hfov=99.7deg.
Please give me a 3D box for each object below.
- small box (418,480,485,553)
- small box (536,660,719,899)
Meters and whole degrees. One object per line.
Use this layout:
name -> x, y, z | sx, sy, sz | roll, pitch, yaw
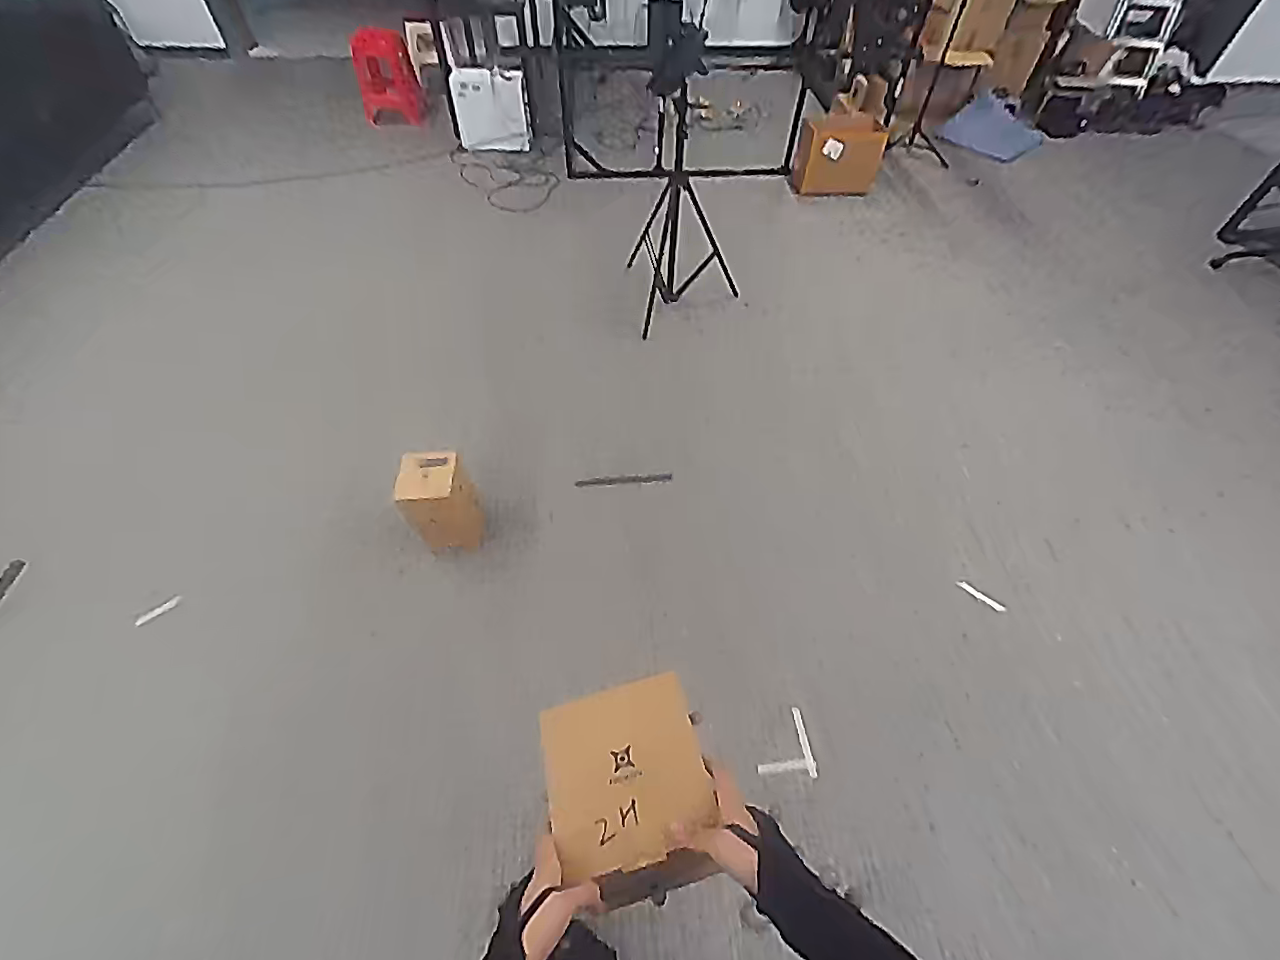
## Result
small box -> -0.624, 0.123, 1.814 | 0.168, 0.176, 0.179 | -5, 52, -4
small box -> -0.014, 0.345, 0.625 | 0.168, 0.176, 0.179 | -15, 45, -5
